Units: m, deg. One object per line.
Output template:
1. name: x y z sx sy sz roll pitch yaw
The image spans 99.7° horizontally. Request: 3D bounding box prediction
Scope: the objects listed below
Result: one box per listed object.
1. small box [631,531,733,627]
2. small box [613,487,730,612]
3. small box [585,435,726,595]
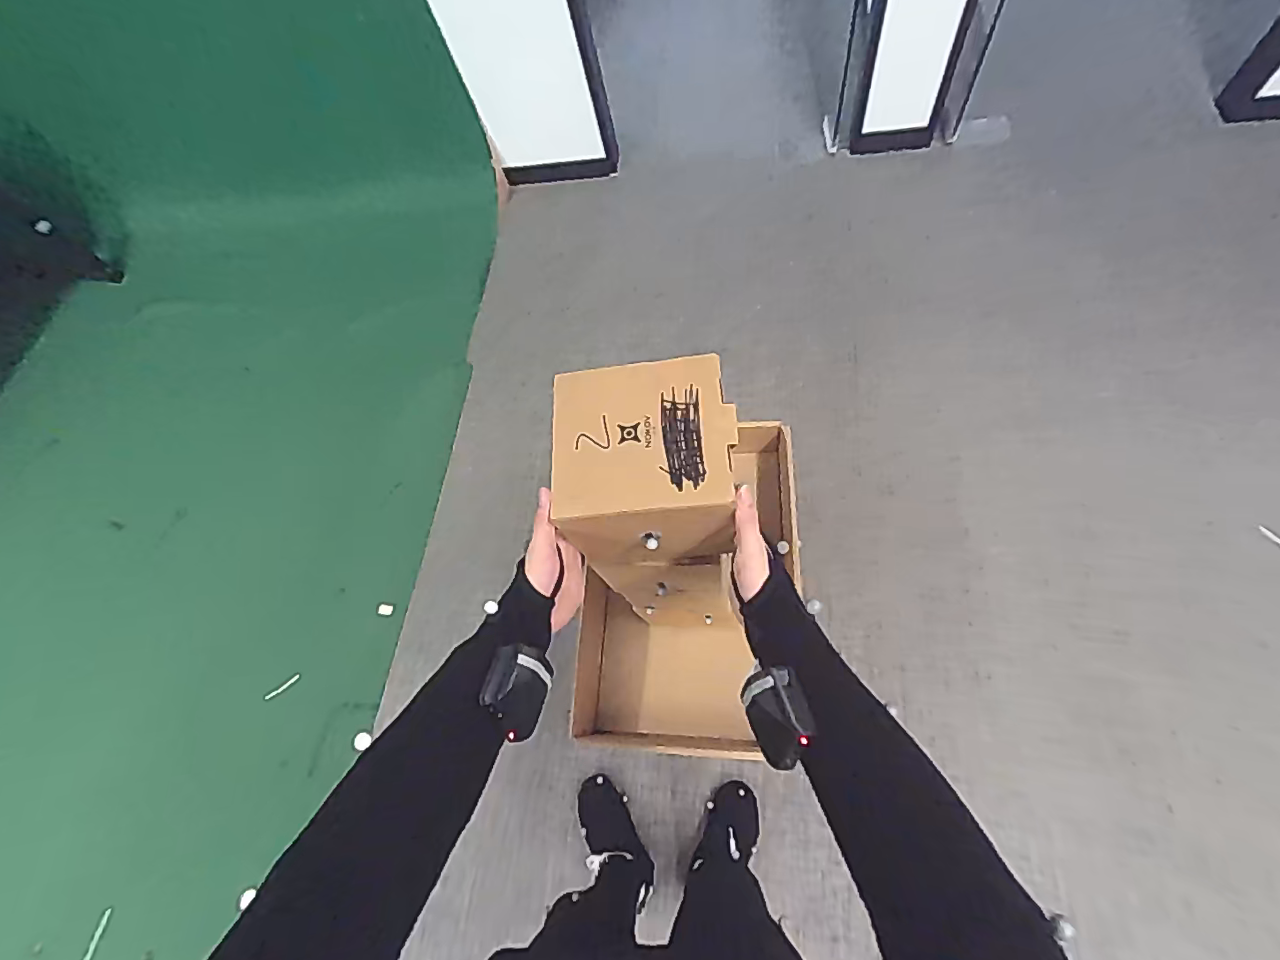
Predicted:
1. small box: 0.088 0.187 1.047 0.179 0.176 0.168 0 66 10
2. small box: 0.062 0.116 0.901 0.168 0.176 0.179 2 66 11
3. small box: 0.033 0.053 0.751 0.168 0.176 0.179 0 67 11
